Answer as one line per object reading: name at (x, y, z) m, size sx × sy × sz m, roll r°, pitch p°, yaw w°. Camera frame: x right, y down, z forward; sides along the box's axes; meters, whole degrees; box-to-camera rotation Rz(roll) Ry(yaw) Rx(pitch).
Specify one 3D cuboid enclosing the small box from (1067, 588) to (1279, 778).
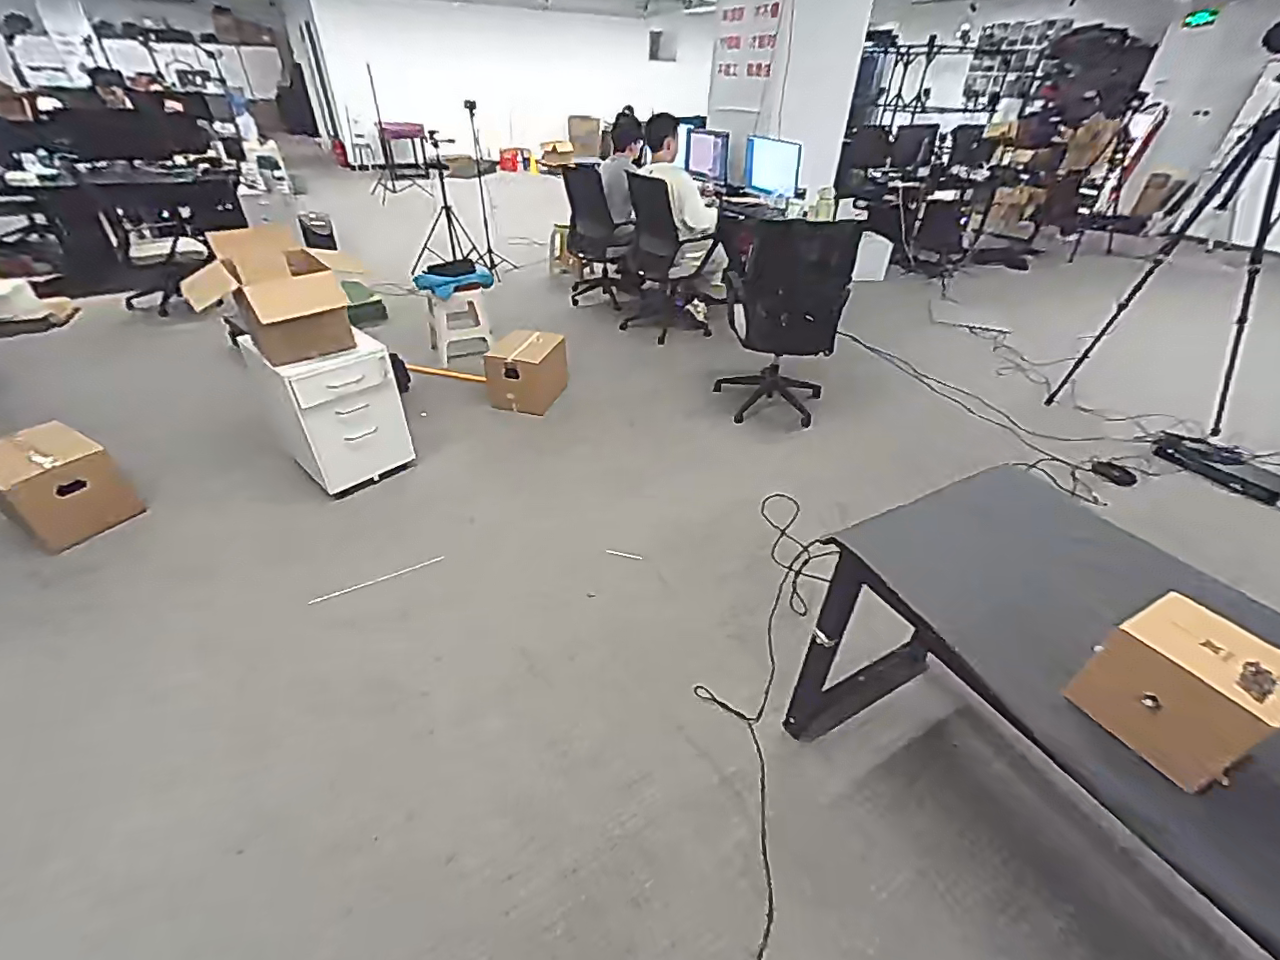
small box at (0.785, 0.294, 0.782) m, size 0.168 × 0.176 × 0.179 m, roll -15°, pitch 38°, yaw -24°
